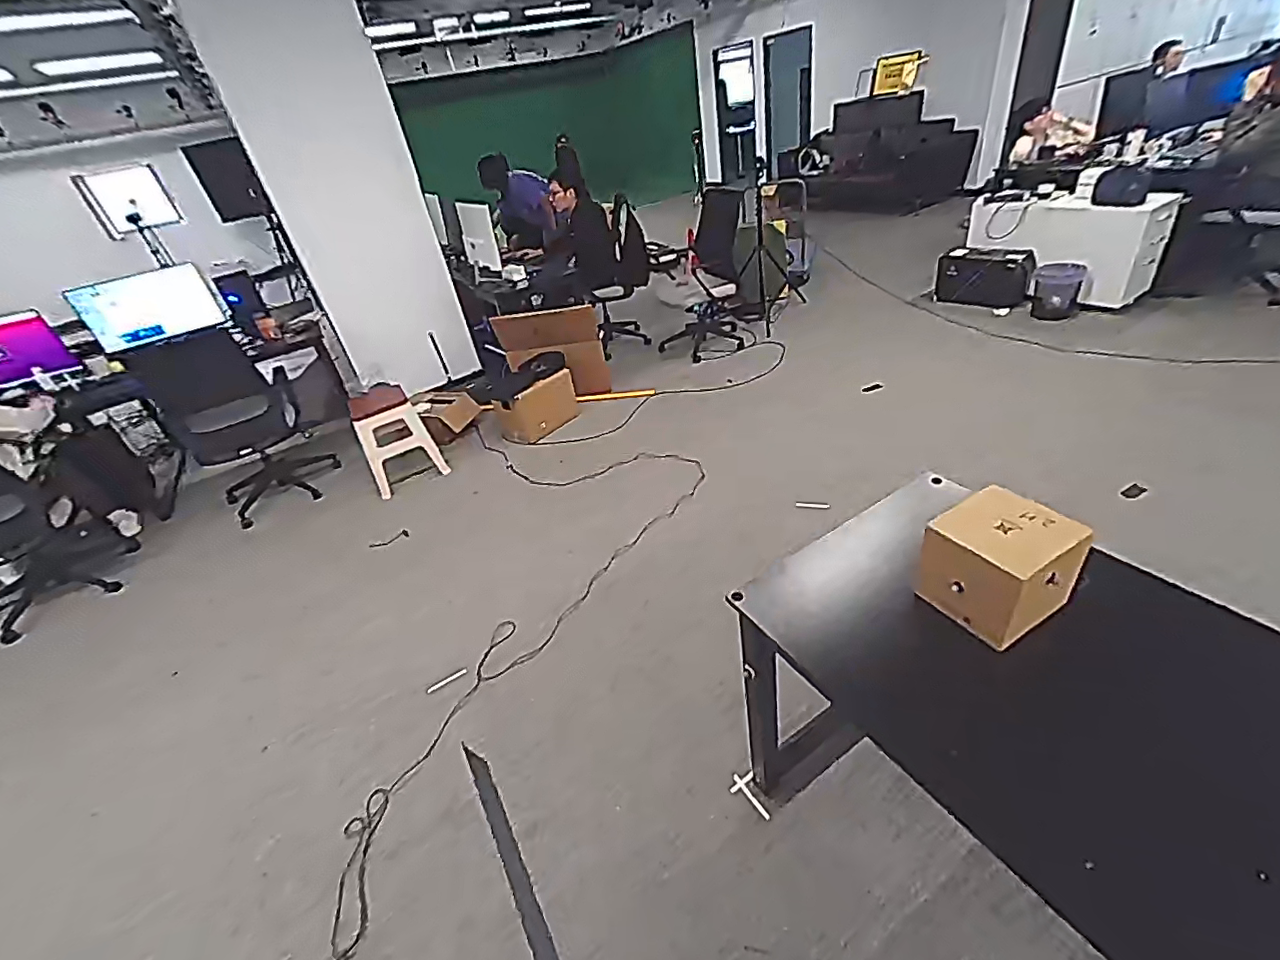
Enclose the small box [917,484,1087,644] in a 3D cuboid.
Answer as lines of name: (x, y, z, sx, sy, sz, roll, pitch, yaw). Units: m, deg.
small box: (0.596, 0.141, 0.914, 0.179, 0.176, 0.168, -24, 36, -18)
